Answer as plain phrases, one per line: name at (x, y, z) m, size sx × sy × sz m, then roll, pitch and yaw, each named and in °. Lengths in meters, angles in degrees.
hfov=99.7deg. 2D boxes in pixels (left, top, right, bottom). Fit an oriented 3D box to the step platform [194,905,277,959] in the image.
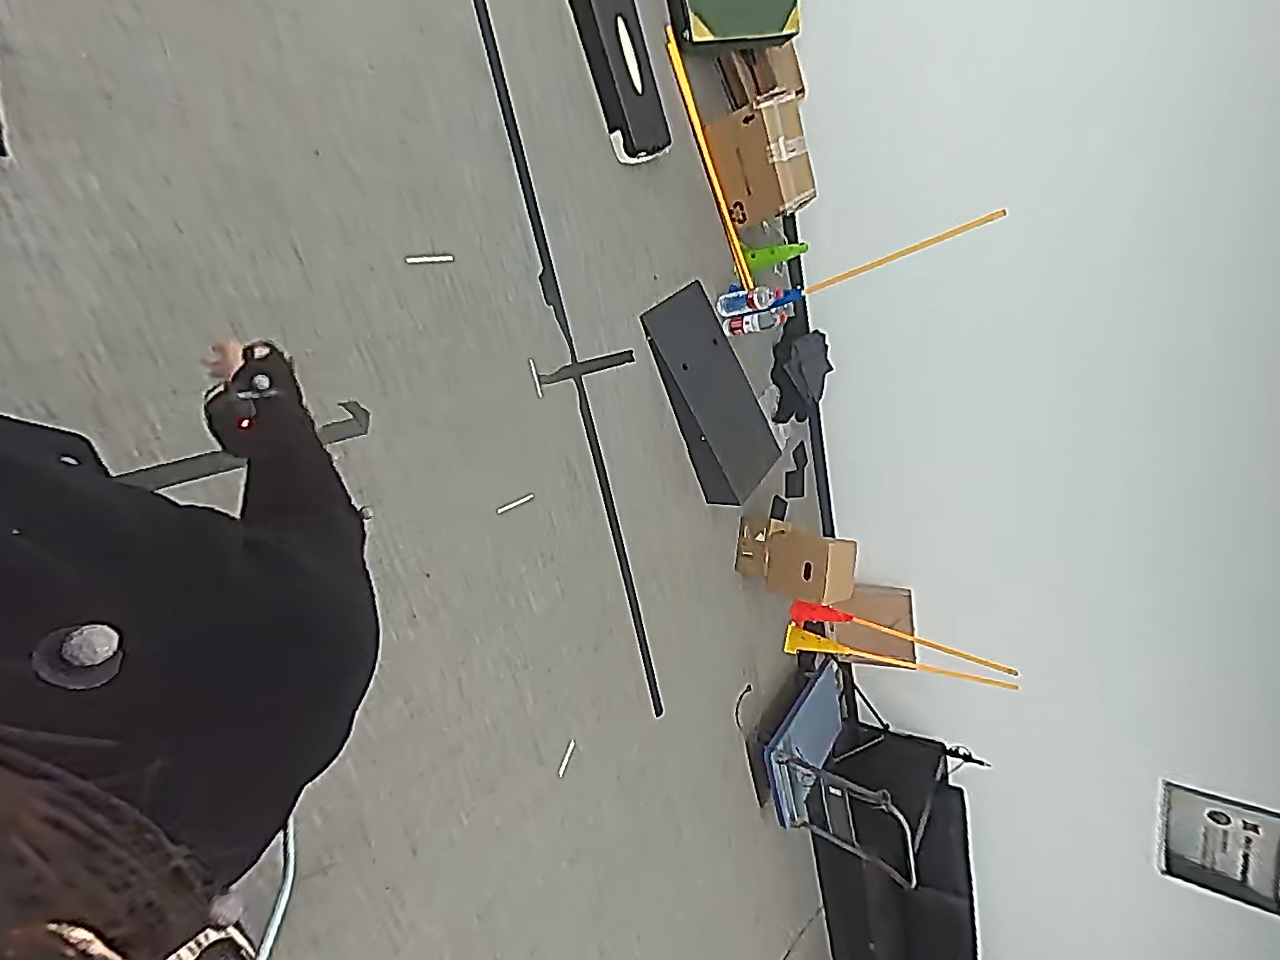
step platform at (-1.061, 1.197, 1.004) m, size 0.684 × 0.204 × 0.286 m, roll -20°, pitch 106°, yaw -47°
